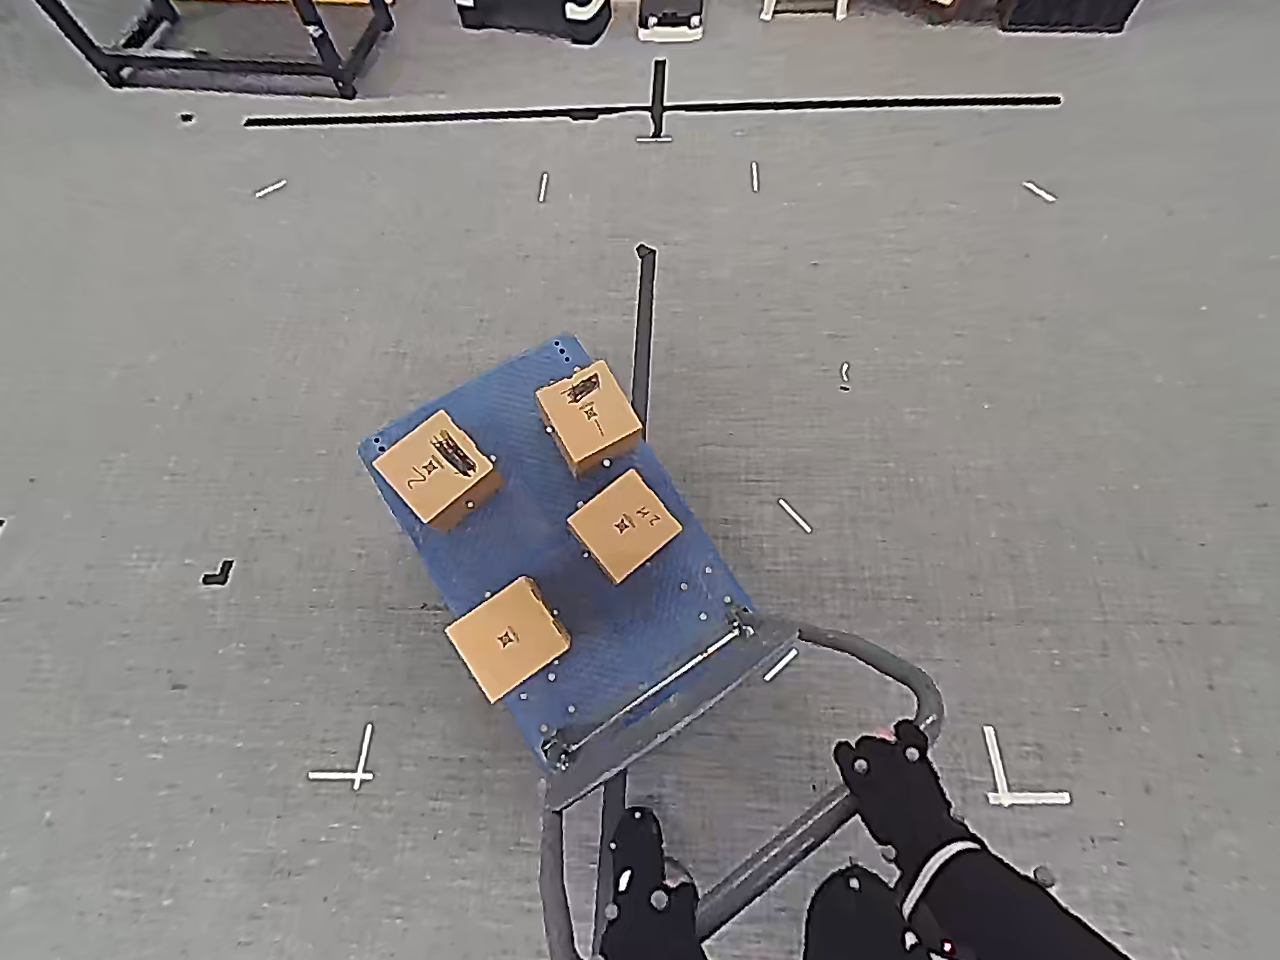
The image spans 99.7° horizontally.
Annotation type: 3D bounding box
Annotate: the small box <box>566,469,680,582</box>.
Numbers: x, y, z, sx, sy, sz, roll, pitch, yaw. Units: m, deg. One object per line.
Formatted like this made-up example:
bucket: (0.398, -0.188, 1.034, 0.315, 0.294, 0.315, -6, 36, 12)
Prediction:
small box: (-0.038, 0.106, 1.168, 0.179, 0.176, 0.168, -39, 85, -12)

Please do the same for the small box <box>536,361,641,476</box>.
small box: (-0.117, -0.130, 1.211, 0.168, 0.176, 0.179, -29, 83, -10)

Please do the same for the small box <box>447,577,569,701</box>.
small box: (-0.258, 0.318, 1.103, 0.179, 0.176, 0.168, -35, 83, -13)
